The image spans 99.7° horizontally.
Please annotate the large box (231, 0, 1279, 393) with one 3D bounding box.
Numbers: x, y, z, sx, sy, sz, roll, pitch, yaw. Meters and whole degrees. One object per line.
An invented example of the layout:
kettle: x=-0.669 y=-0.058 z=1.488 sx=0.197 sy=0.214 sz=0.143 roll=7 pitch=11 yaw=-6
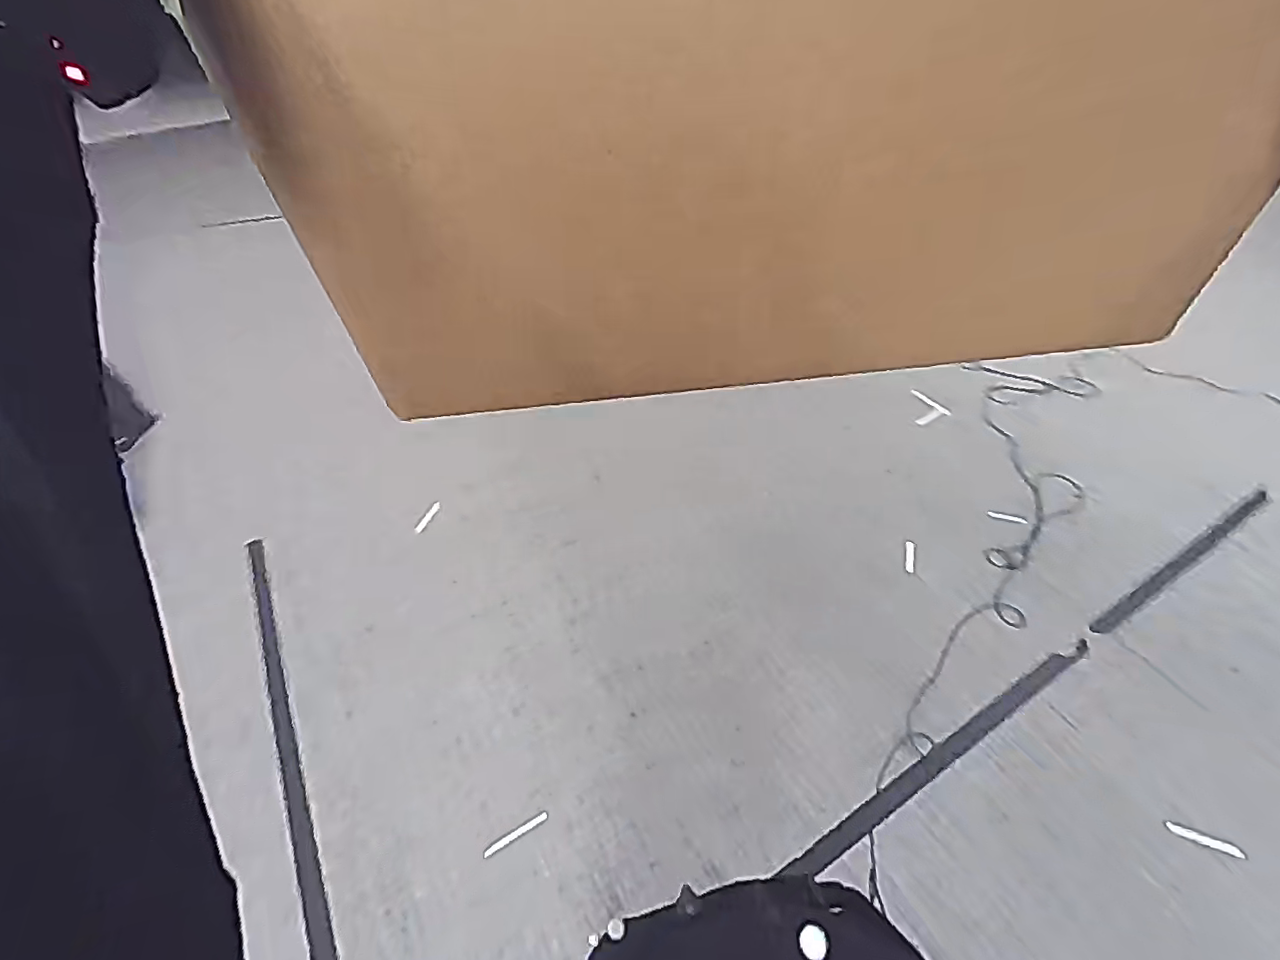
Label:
large box: x=0.054 y=-0.271 z=0.277 sx=0.408 sy=0.320 sz=0.320 roll=-5 pitch=48 yaw=0
